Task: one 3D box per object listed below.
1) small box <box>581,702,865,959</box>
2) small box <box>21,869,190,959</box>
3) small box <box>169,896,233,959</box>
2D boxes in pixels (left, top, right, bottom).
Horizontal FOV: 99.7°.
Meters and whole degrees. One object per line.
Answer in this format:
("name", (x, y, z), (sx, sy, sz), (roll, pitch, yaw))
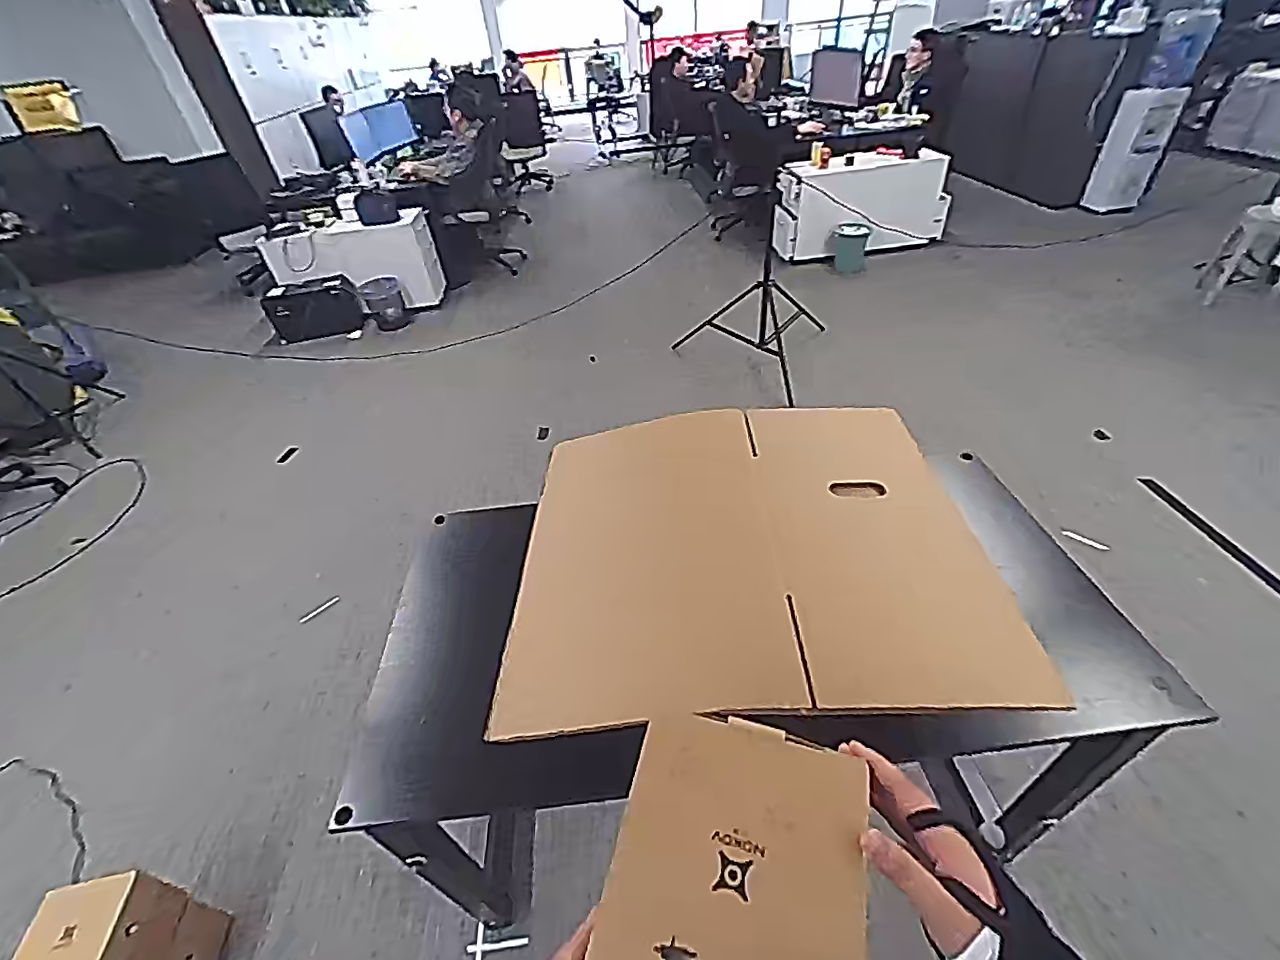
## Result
("small box", (0.071, 0.310, 0.426), (0.168, 0.176, 0.179), (9, 49, 16))
("small box", (-1.037, 0.902, 1.053), (0.168, 0.176, 0.179), (-11, 39, -6))
("small box", (-1.020, 1.029, 1.153), (0.168, 0.176, 0.179), (-10, 41, -3))
